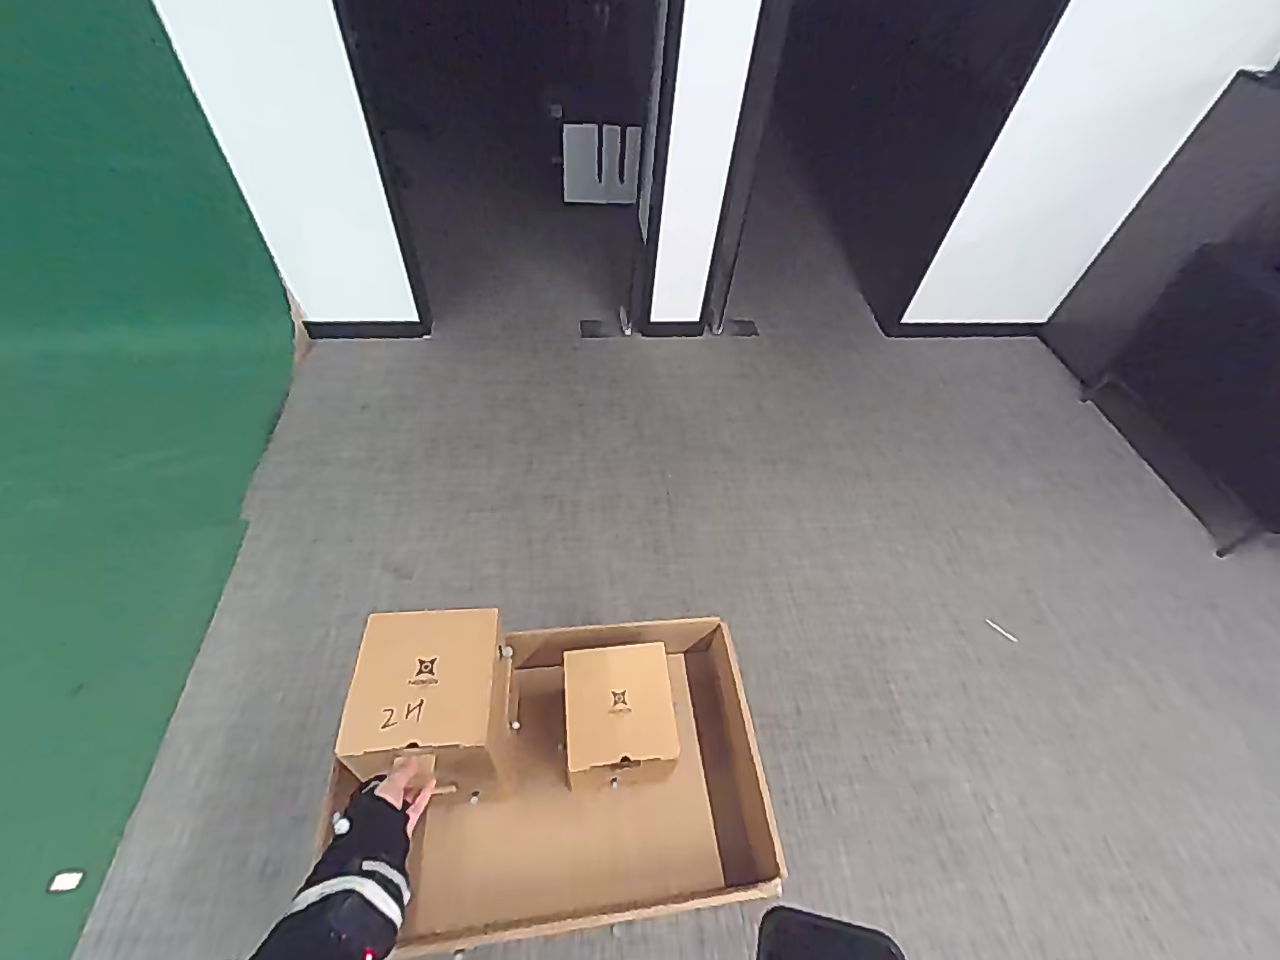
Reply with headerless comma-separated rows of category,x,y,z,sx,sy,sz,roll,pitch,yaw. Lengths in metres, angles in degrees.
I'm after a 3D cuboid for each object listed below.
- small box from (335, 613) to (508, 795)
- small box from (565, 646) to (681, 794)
small box,-0.271,0.295,0.717,0.168,0.176,0.179,0,48,-7
small box,-0.037,0.392,0.882,0.168,0.176,0.179,-3,52,-7
